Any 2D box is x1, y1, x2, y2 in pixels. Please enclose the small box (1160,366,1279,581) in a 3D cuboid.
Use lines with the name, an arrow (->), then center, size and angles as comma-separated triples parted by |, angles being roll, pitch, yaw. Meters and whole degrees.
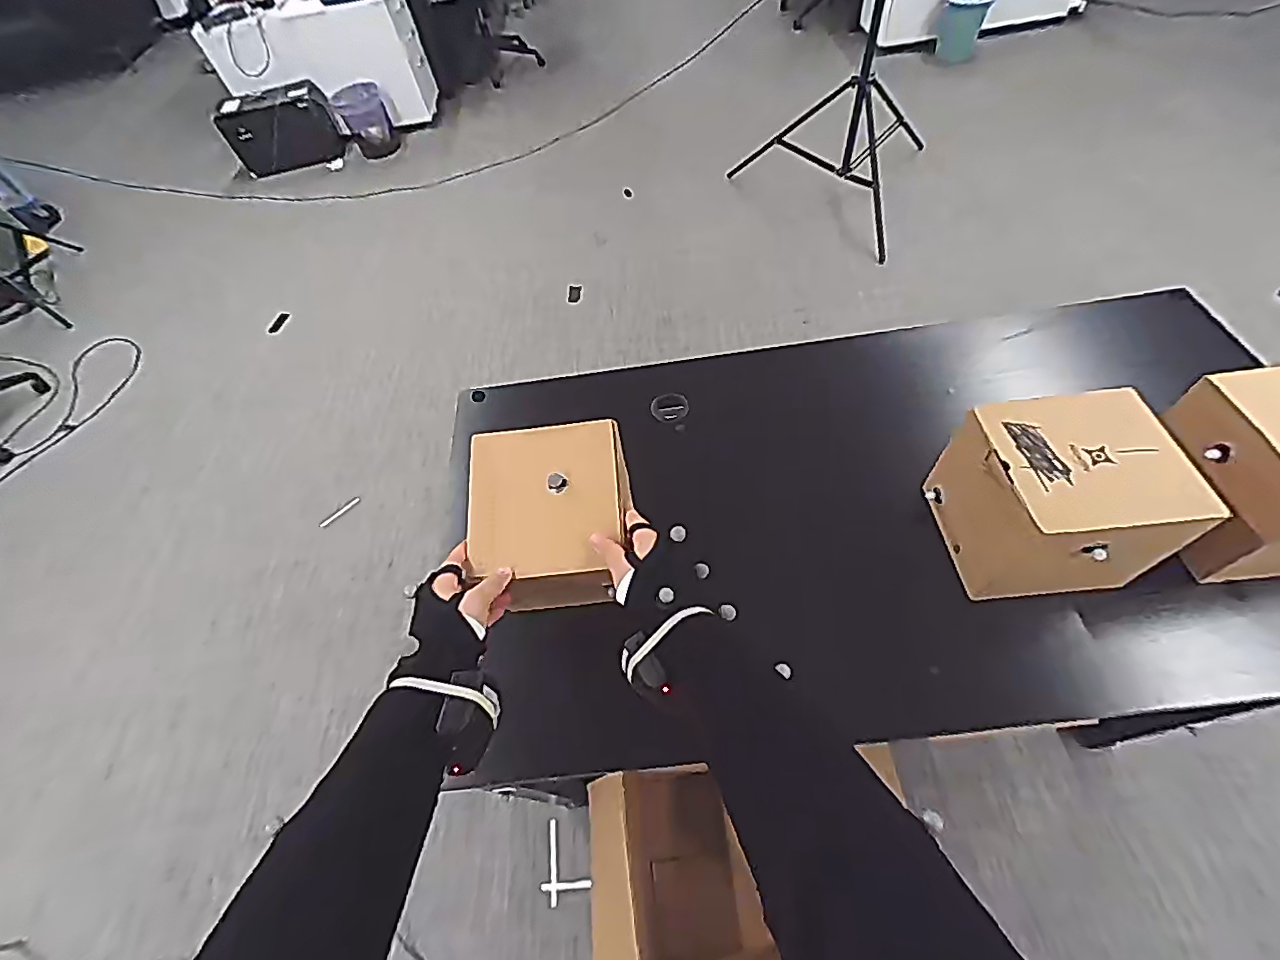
small box -> 0.704, -0.008, 0.596 | 0.168, 0.176, 0.179 | -7, 55, 4

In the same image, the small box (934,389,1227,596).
small box -> 0.461, 0.022, 0.612 | 0.179, 0.176, 0.168 | -6, 56, 3
